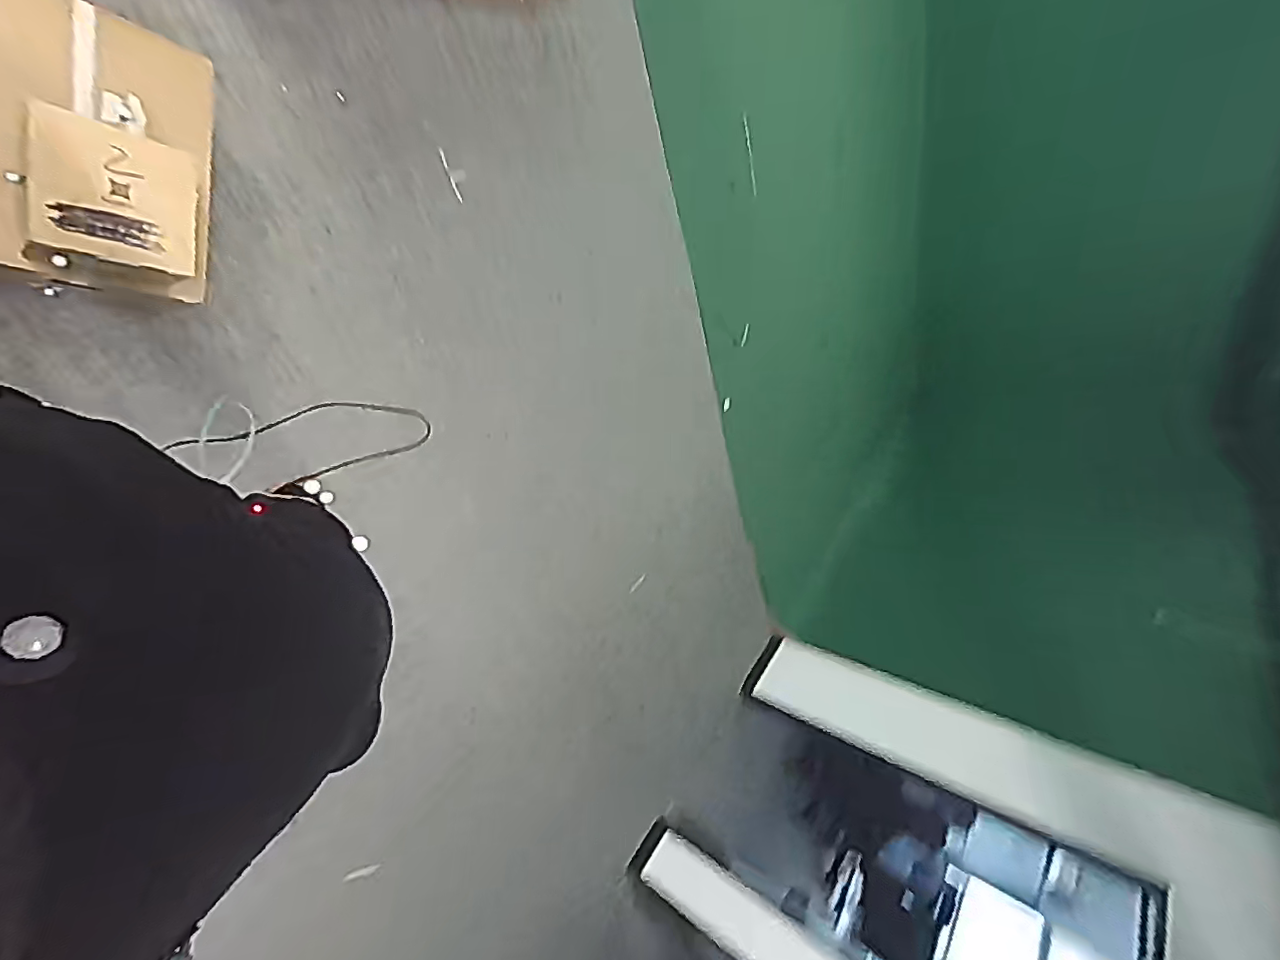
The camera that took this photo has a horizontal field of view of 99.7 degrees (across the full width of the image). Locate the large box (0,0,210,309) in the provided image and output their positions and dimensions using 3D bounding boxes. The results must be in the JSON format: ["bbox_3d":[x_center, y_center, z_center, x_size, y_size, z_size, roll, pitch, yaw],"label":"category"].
[{"bbox_3d":[-0.955,-0.527,0.911,0.320,0.320,0.408,-1,100,-50],"label":"large box"}]
